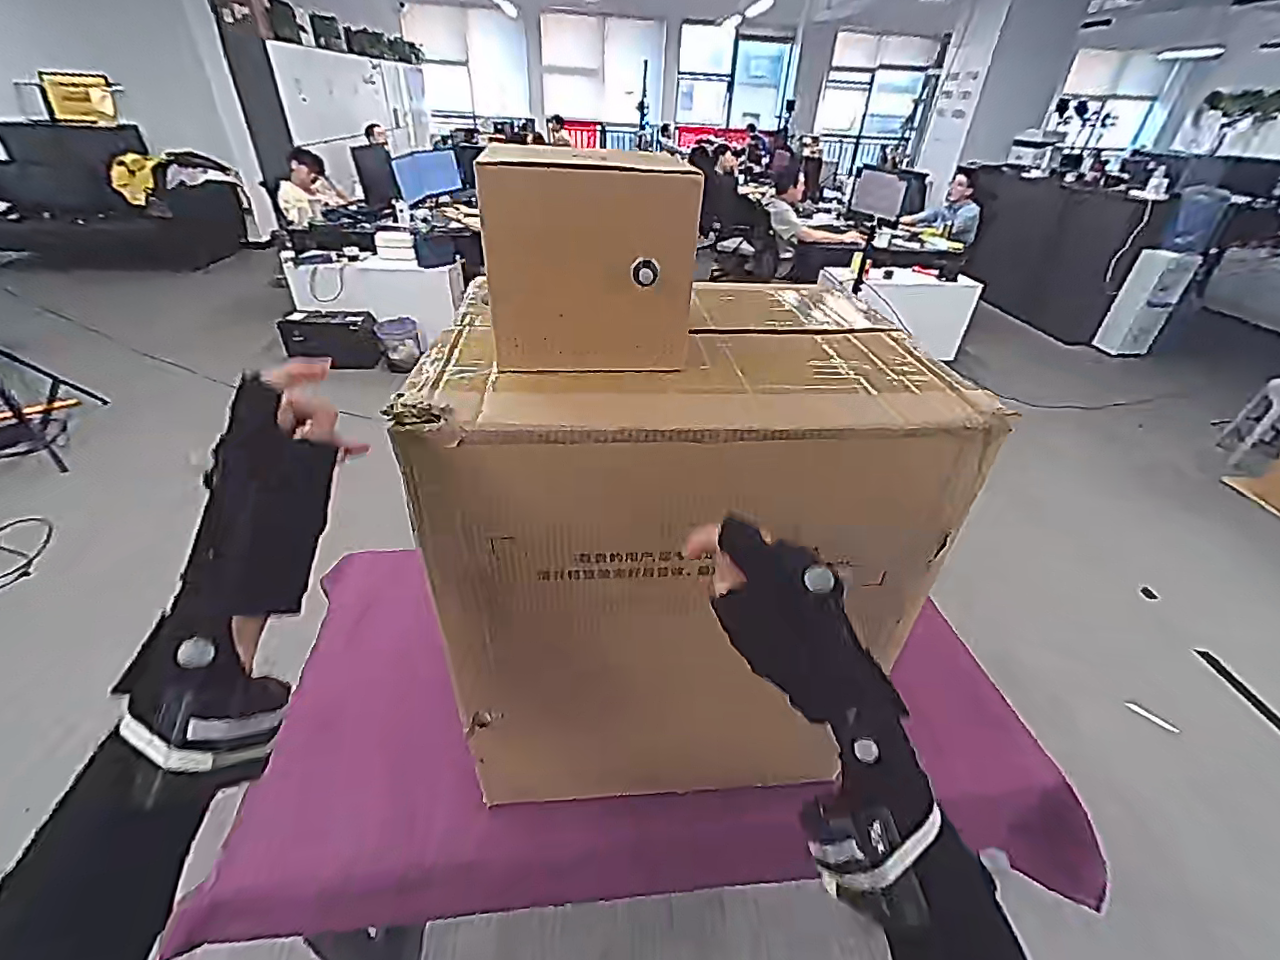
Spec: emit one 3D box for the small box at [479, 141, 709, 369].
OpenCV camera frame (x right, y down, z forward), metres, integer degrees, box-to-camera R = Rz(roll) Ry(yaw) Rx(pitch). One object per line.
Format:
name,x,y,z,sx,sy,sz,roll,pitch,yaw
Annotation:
small box,-0.047,-0.214,0.514,0.179,0.176,0.168,-3,35,-8
